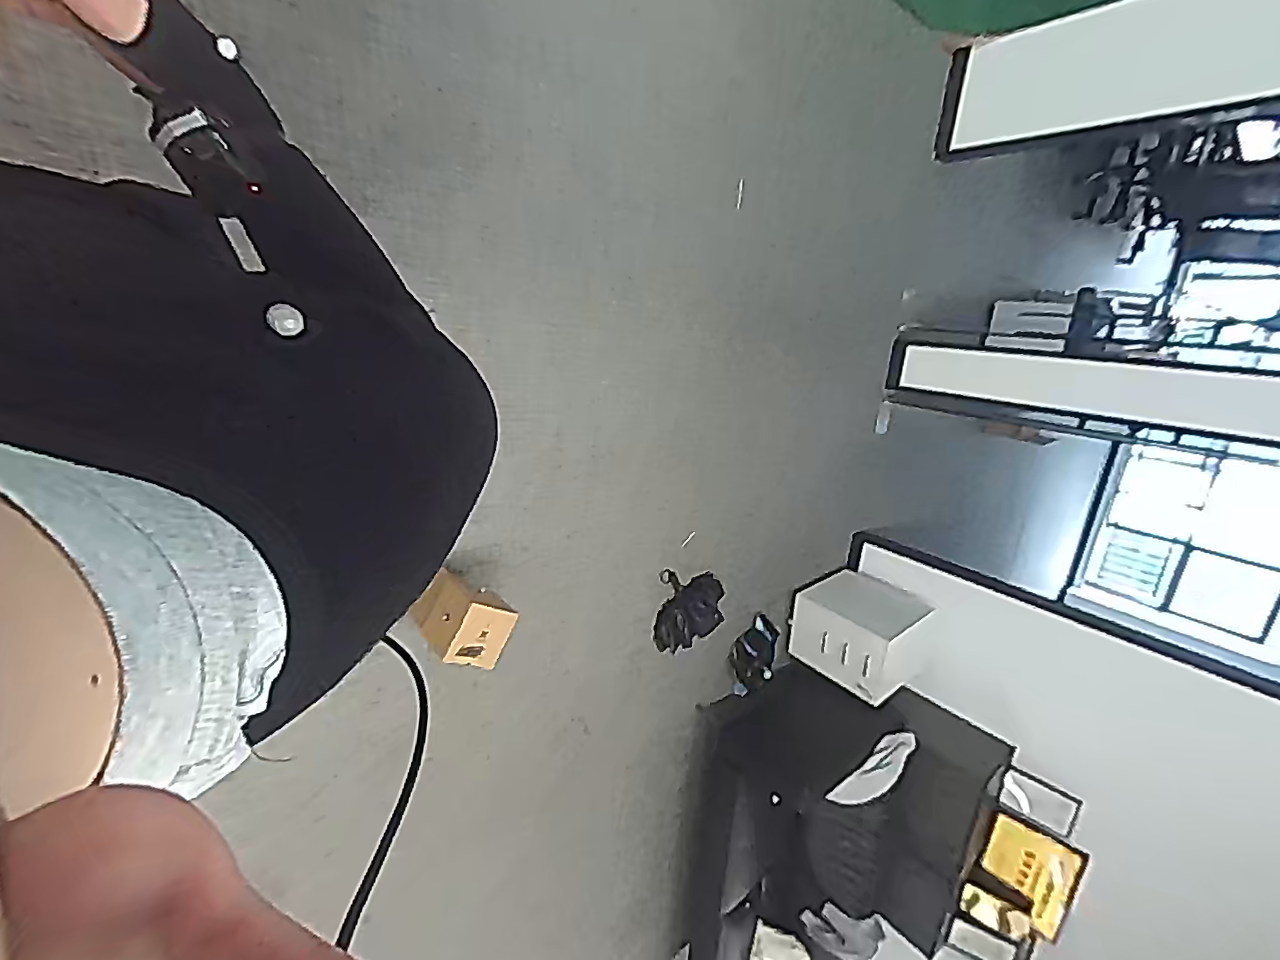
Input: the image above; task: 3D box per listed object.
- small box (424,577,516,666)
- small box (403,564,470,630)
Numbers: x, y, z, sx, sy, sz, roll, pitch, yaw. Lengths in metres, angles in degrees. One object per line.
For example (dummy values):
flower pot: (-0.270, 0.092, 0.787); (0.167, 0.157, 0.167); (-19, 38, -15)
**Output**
small box: (-0.494, 0.403, 1.550); (0.168, 0.176, 0.179); (31, 83, -44)
small box: (-0.597, 0.384, 1.680); (0.168, 0.176, 0.179); (-54, 131, -13)
